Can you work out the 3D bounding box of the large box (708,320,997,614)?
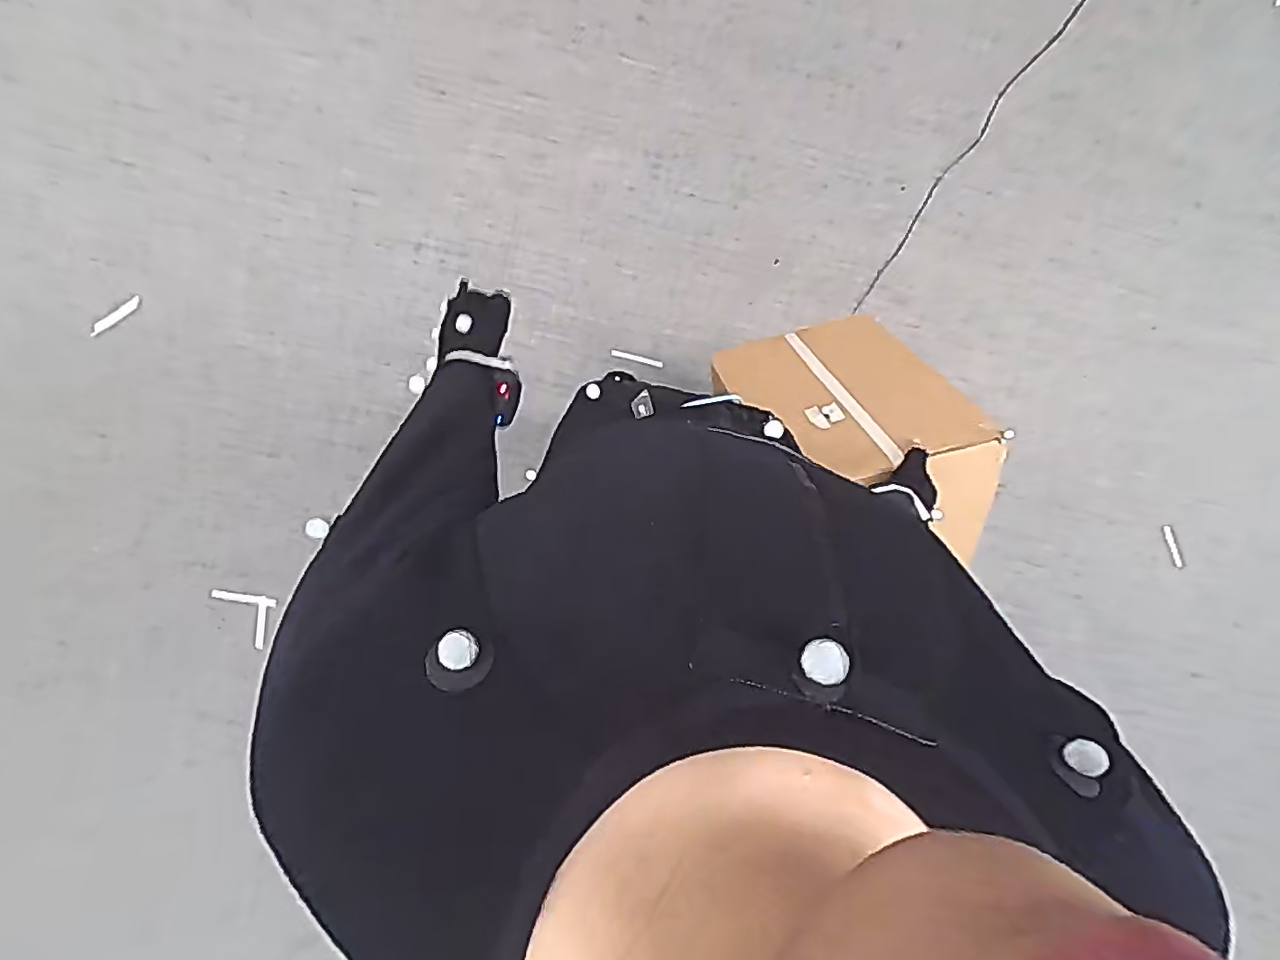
[{"bbox_3d":[0.336,-0.035,0.988,0.320,0.408,0.320,-15,133,0],"label":"large box"}]
